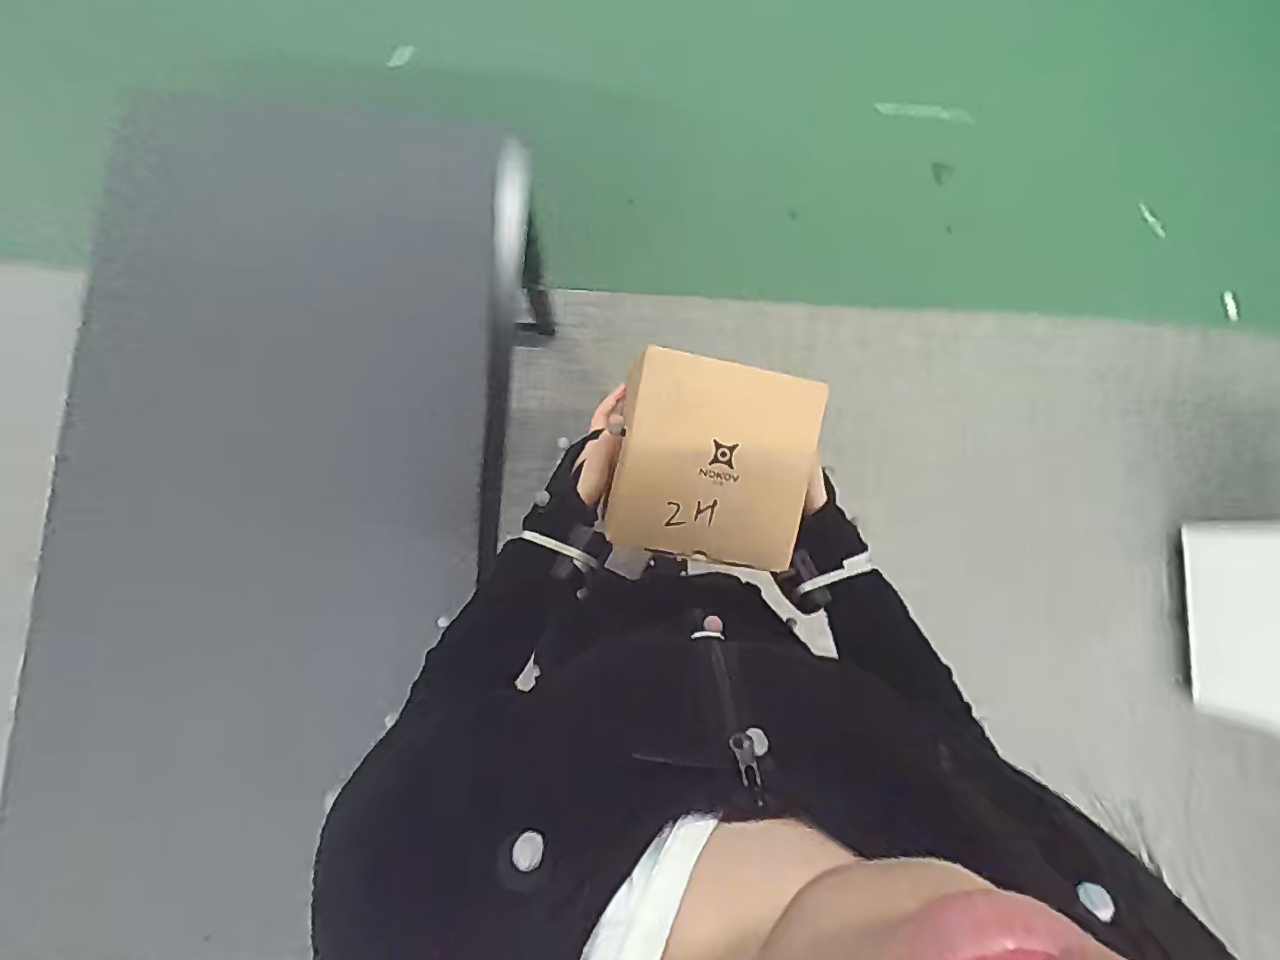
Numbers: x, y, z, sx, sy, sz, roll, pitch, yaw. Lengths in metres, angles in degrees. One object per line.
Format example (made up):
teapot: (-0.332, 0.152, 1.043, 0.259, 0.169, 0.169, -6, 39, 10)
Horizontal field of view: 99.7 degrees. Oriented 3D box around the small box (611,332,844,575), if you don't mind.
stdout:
small box: (0.068, -0.025, 0.527, 0.168, 0.176, 0.179, 12, 94, -7)
